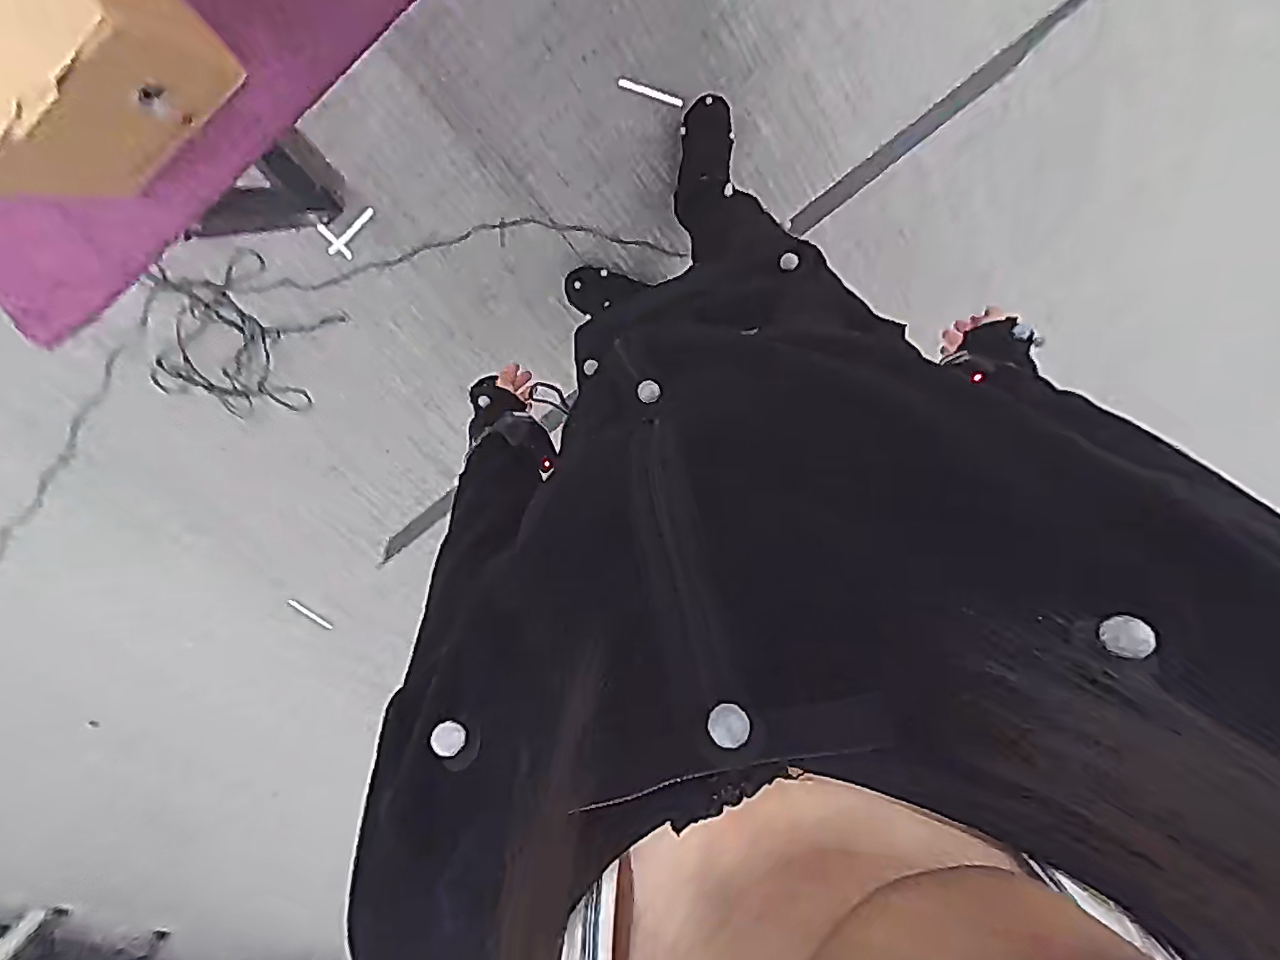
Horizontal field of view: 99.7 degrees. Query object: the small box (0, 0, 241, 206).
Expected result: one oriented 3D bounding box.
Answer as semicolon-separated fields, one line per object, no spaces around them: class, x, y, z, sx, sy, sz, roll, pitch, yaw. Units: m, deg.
small box;-0.438;-0.321;0.375;0.168;0.176;0.179;-36;115;9
